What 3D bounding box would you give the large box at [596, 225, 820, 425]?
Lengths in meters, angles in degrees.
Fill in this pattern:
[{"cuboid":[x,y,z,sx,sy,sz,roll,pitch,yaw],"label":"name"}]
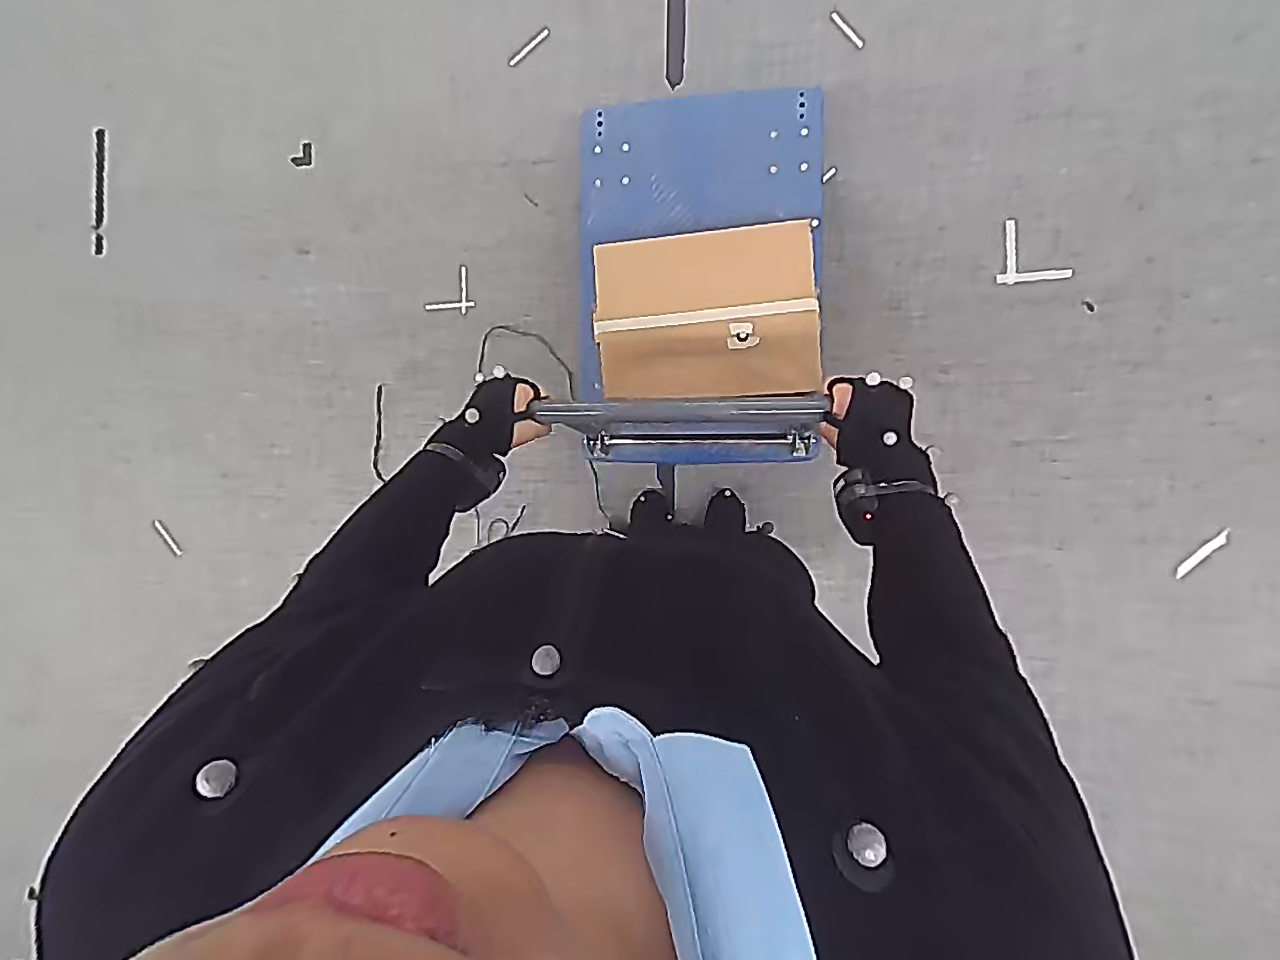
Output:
[{"cuboid":[0.139,-0.301,1.161,0.408,0.320,0.320,-4,91,7],"label":"large box"}]
